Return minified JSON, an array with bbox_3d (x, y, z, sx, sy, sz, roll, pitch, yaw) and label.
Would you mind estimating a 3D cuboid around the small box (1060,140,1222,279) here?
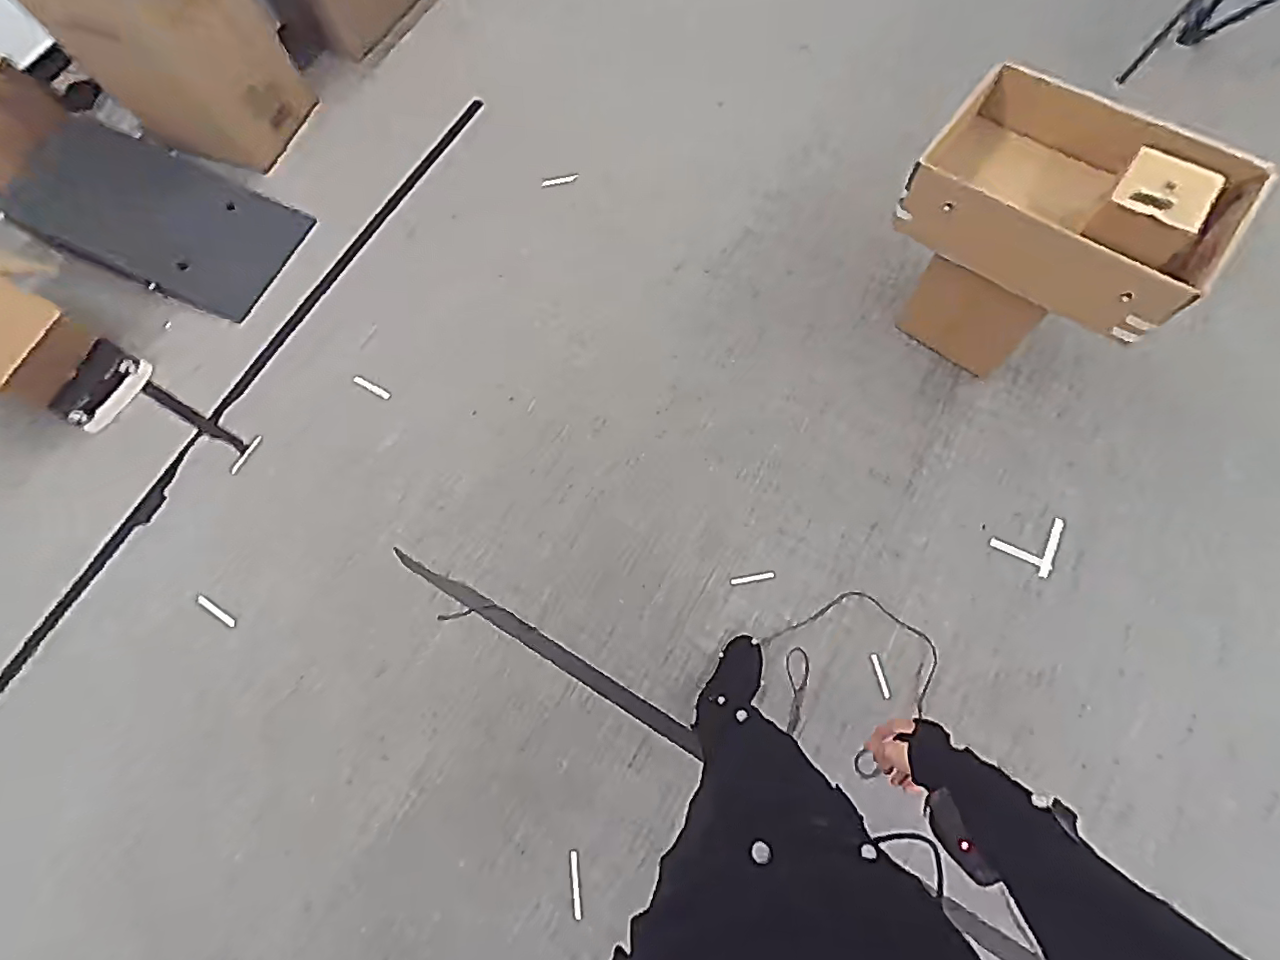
[{"bbox_3d":[1.056,-0.571,1.158,0.168,0.176,0.179,34,76,15],"label":"small box"}]
